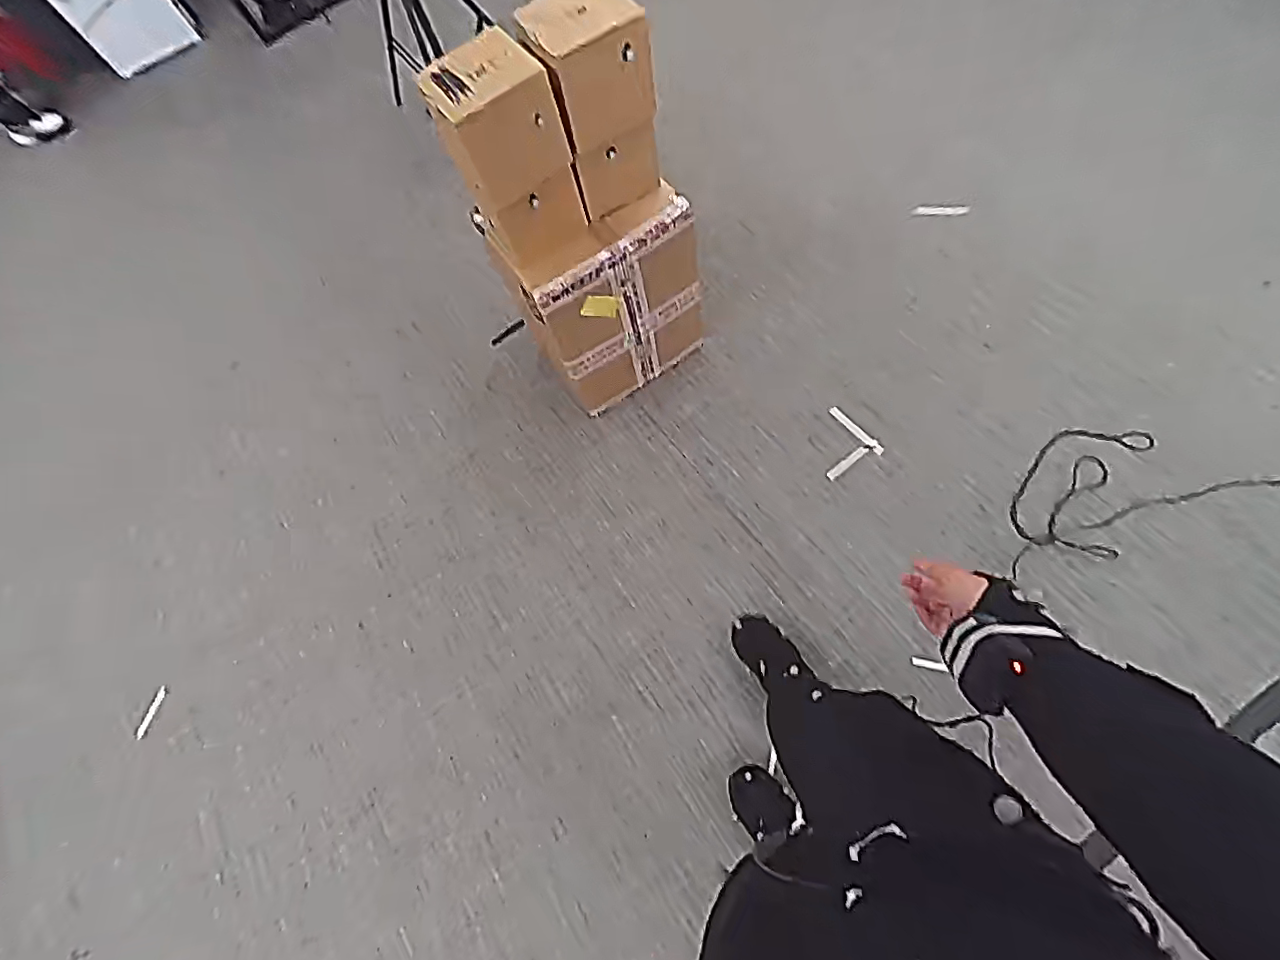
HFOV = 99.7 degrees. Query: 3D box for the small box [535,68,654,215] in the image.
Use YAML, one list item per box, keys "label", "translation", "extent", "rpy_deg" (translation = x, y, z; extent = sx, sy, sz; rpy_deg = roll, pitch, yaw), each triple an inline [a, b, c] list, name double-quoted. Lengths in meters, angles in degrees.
- label: "small box"
  translation: [-0.087, -0.690, 1.118]
  extent: [0.179, 0.176, 0.168]
  rpy_deg: [-29, 67, -5]
